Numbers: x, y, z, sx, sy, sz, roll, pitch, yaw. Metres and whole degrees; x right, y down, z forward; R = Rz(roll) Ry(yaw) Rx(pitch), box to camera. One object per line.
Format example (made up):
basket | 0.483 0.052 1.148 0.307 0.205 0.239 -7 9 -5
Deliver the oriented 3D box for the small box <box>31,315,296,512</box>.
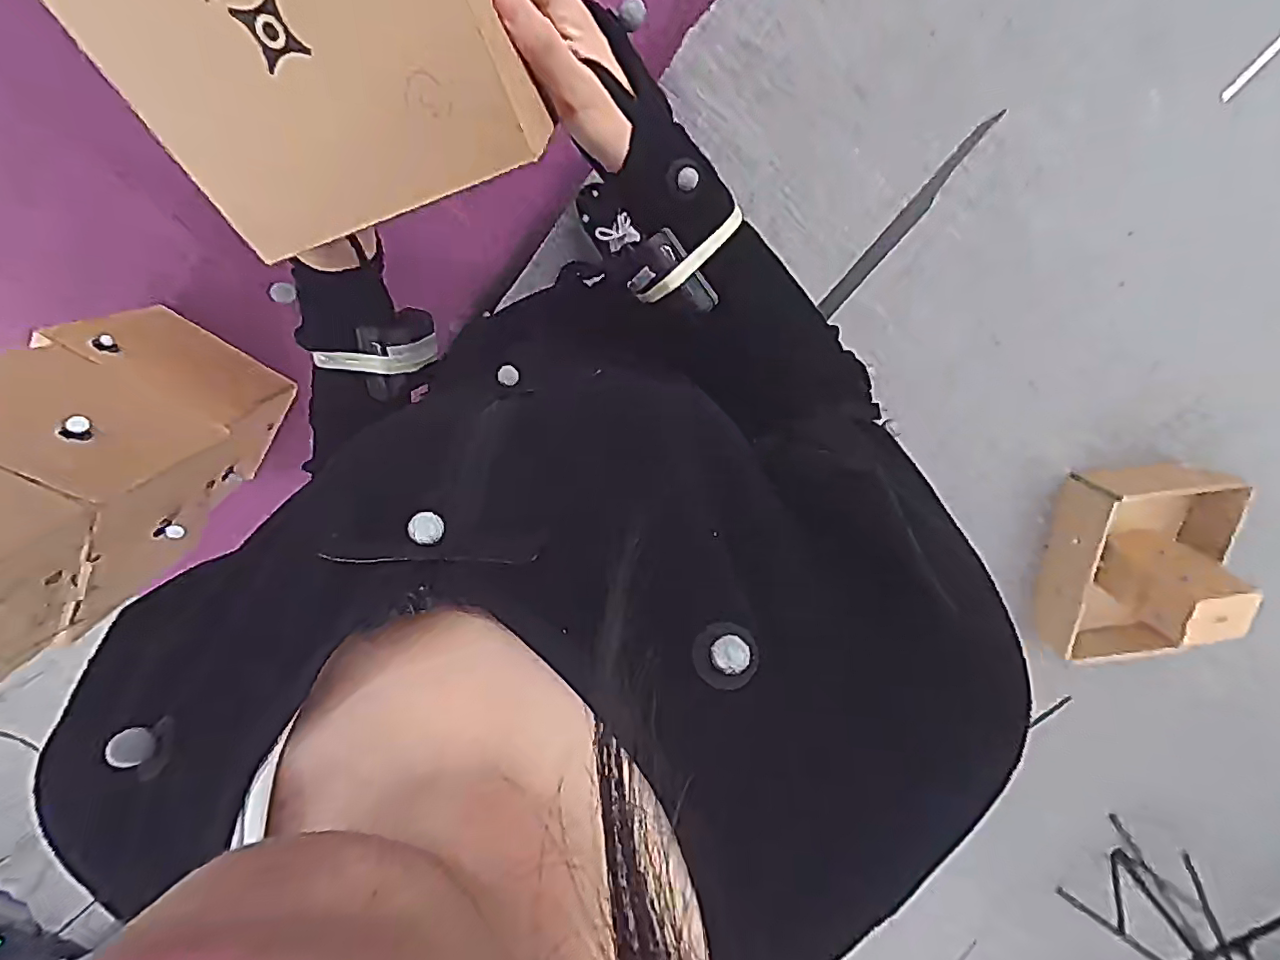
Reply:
small box | -0.554 -0.073 0.638 0.179 0.176 0.168 33 110 -17

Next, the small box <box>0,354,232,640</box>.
small box | -0.528 0.006 0.496 0.179 0.176 0.168 28 111 -16

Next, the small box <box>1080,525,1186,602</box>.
small box | 1.532 0.253 1.679 0.179 0.176 0.168 -7 116 1

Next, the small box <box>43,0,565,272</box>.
small box | -0.150 -0.244 0.279 0.168 0.176 0.179 -12 133 13

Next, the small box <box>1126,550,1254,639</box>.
small box | 1.542 0.319 1.531 0.179 0.176 0.168 -11 118 1
